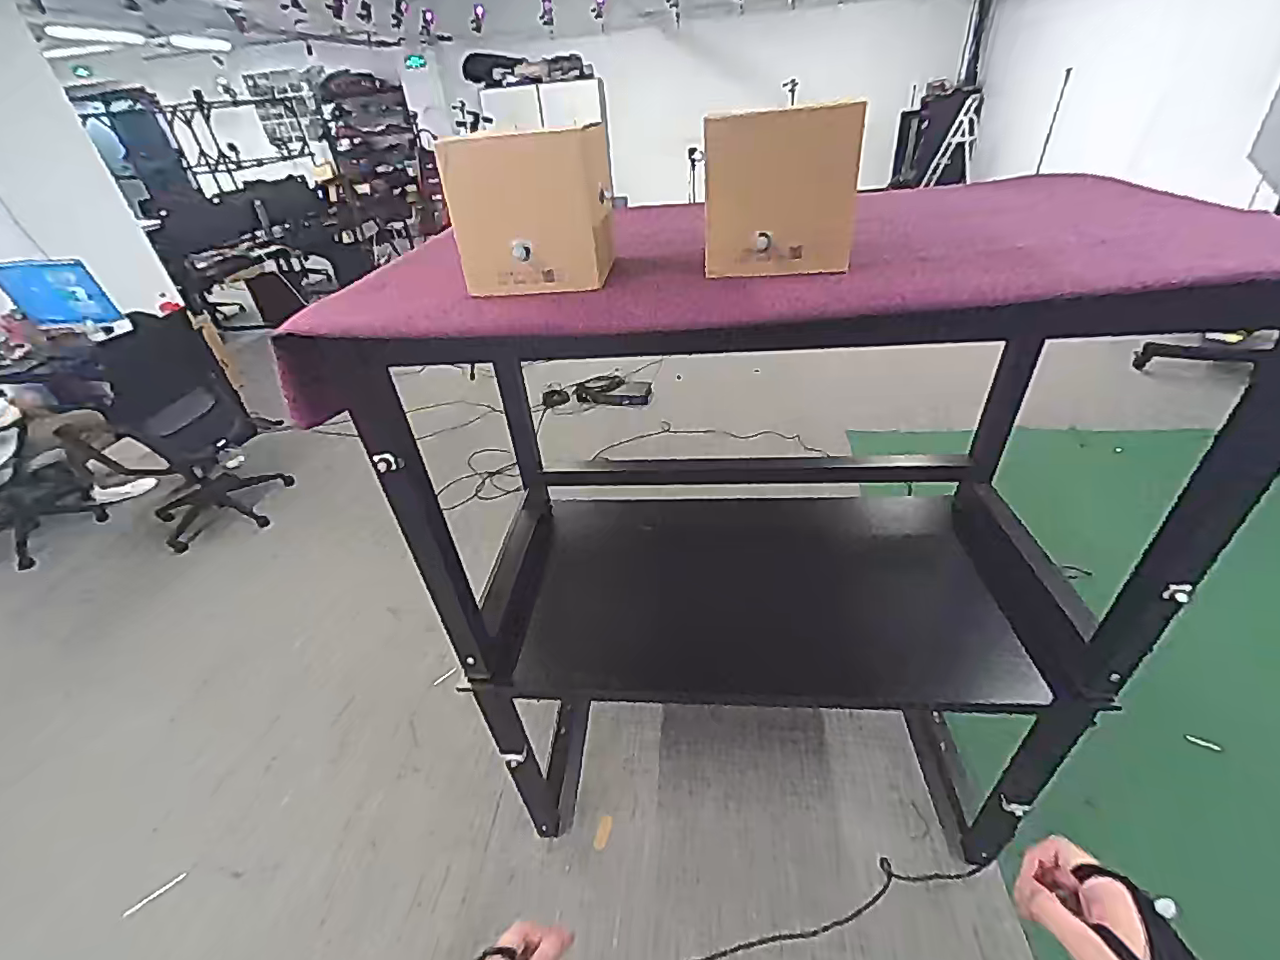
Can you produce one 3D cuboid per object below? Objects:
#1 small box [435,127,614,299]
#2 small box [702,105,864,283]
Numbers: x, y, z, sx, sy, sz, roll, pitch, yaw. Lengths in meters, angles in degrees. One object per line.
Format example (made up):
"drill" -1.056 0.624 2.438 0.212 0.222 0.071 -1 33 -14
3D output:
"small box" -0.128 -0.336 0.680 0.168 0.176 0.179 -1 35 6
"small box" 0.162 -0.350 0.663 0.168 0.176 0.179 0 35 10
